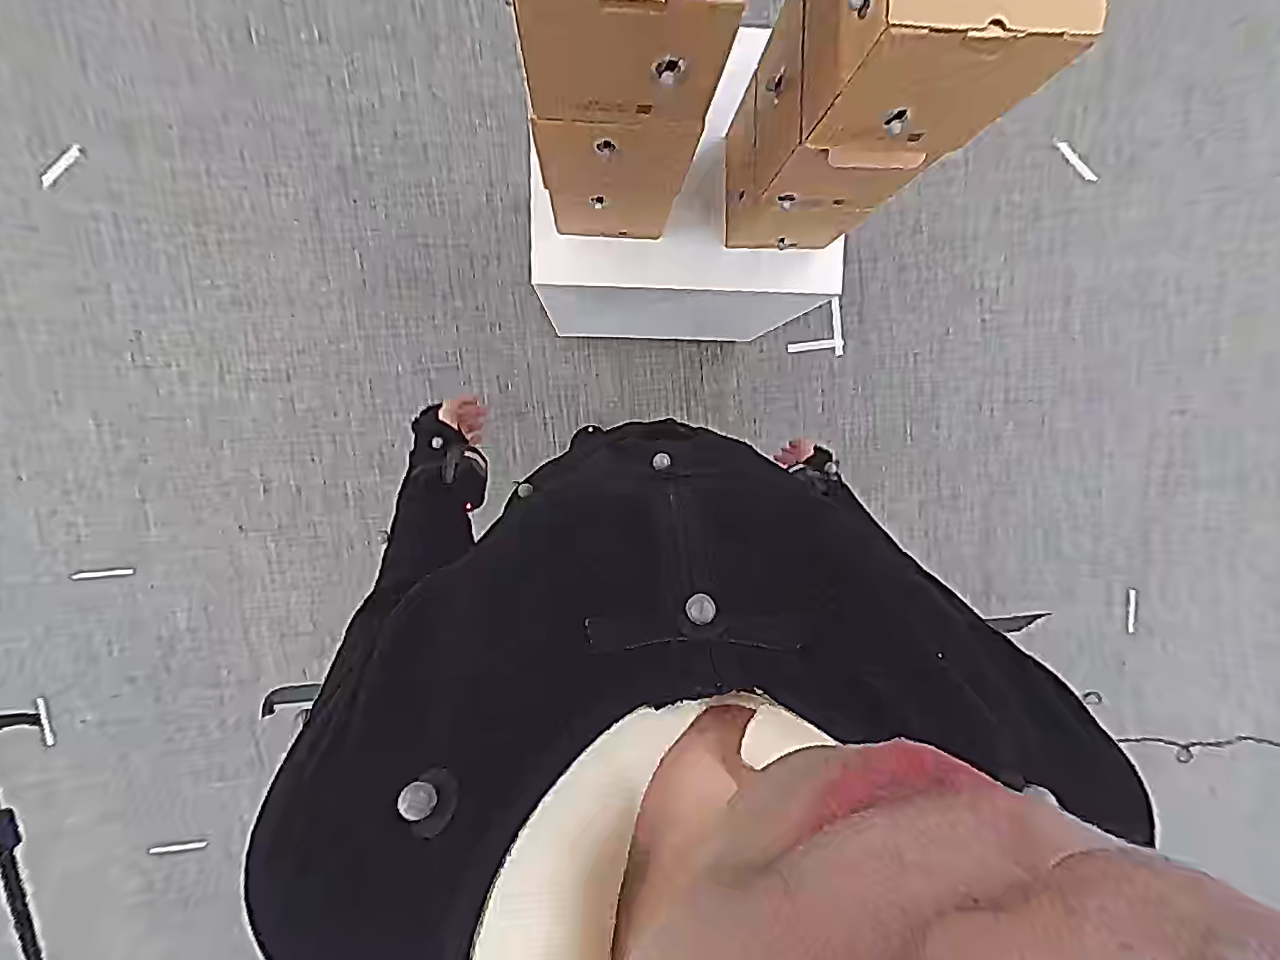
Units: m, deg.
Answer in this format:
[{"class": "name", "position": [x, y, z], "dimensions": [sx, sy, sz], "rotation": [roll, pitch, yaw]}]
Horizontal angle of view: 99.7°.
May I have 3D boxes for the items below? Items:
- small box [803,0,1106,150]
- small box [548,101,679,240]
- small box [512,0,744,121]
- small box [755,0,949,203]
[{"class": "small box", "position": [0.247, -0.415, 0.457], "dimensions": [0.168, 0.176, 0.179], "rotation": [-1, 97, -4]}, {"class": "small box", "position": [-0.038, -0.461, 0.759], "dimensions": [0.168, 0.176, 0.179], "rotation": [1, 96, -4]}, {"class": "small box", "position": [-0.011, -0.424, 0.435], "dimensions": [0.168, 0.176, 0.179], "rotation": [0, 96, -6]}, {"class": "small box", "position": [0.234, -0.436, 0.618], "dimensions": [0.168, 0.176, 0.179], "rotation": [-1, 96, -4]}]
